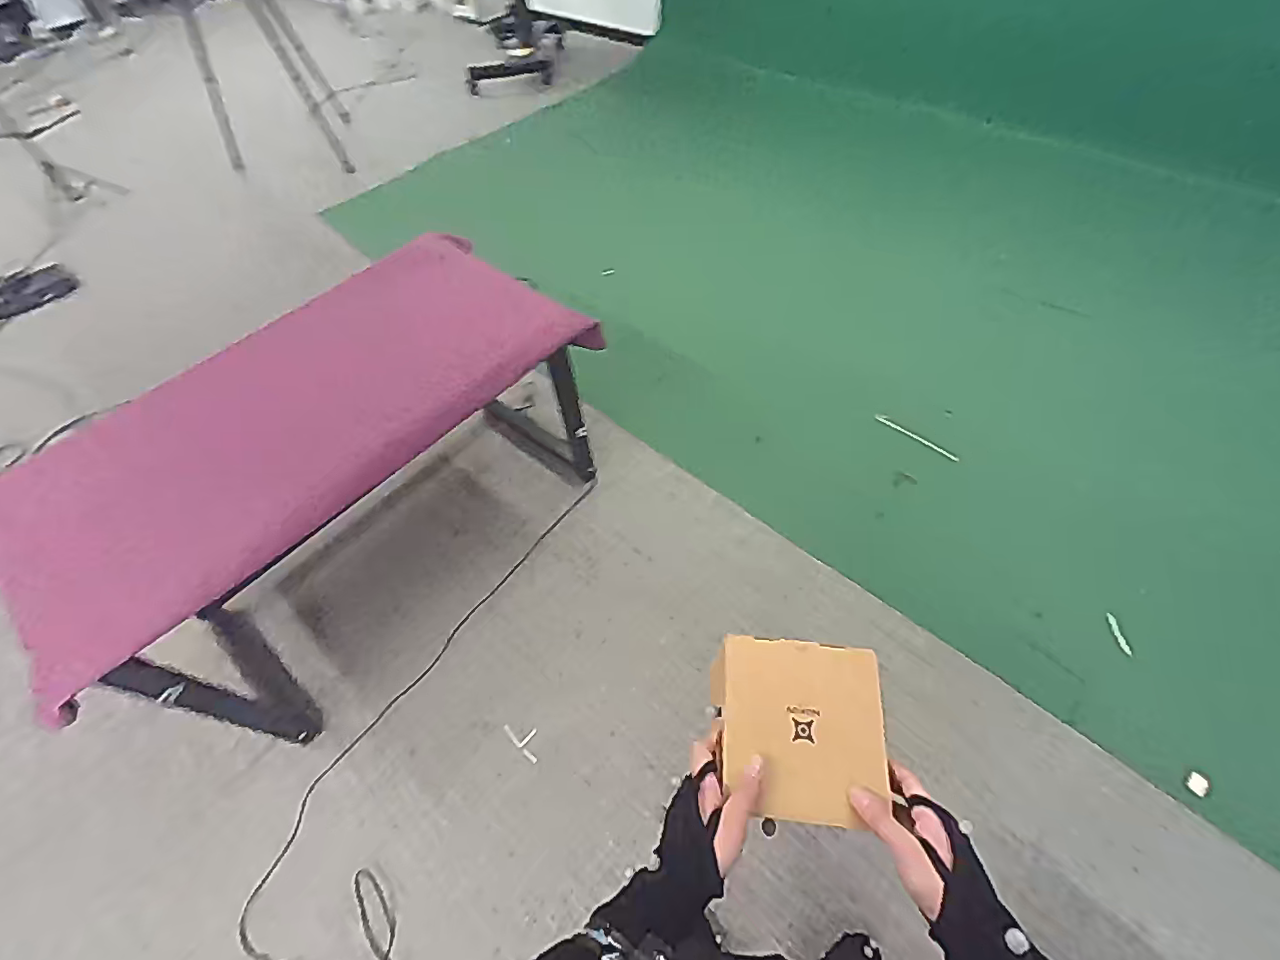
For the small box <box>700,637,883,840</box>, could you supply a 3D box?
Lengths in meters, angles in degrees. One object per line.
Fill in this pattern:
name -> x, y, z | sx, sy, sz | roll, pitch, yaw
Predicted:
small box -> 0.159, 0.296, 0.622 | 0.168, 0.176, 0.179 | 4, 59, 4
